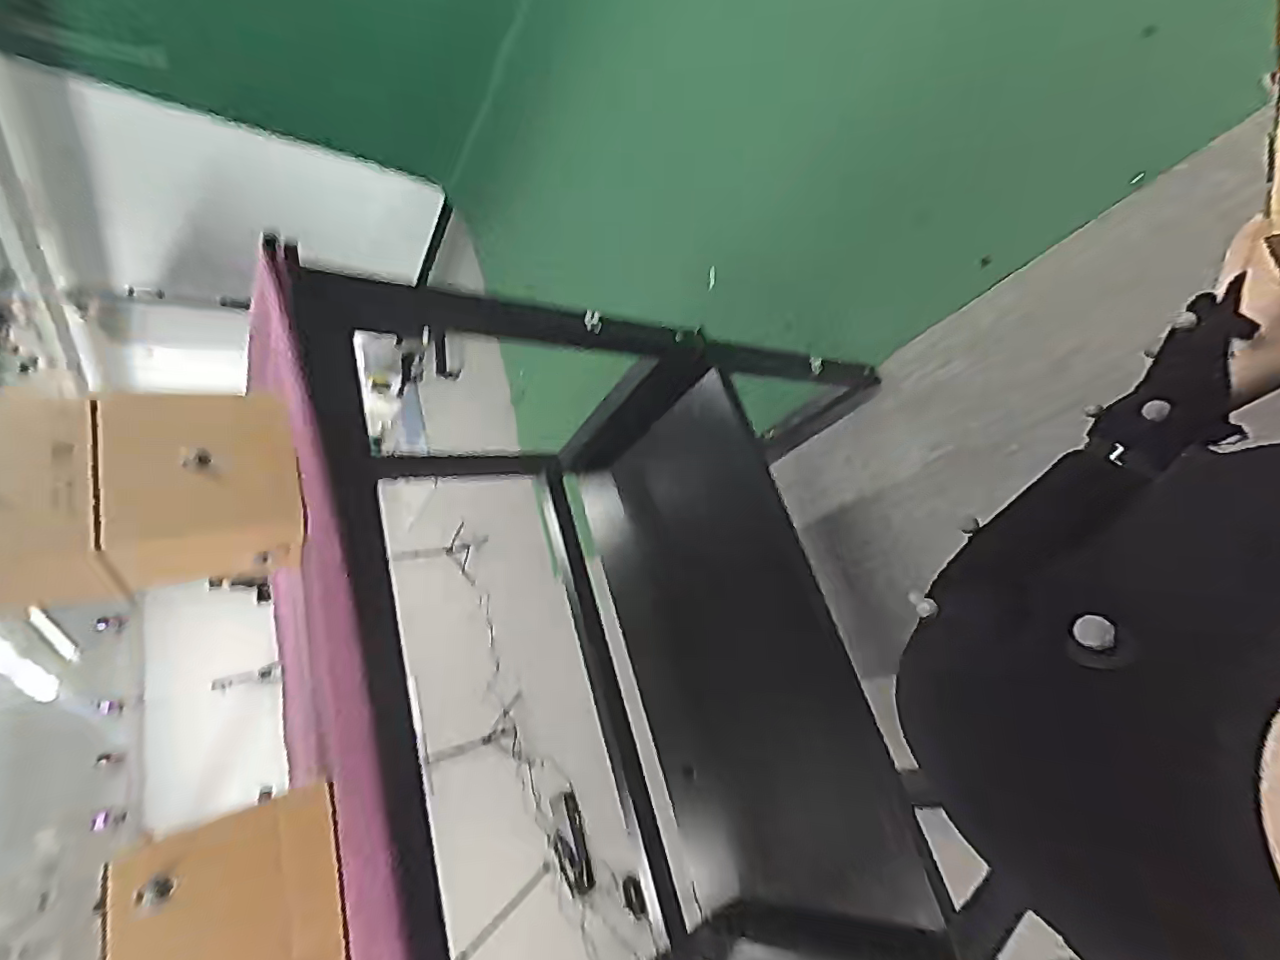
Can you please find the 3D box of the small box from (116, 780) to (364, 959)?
[{"bbox_3d":[-0.379,0.421,0.530,0.168,0.176,0.179,-38,63,48],"label":"small box"}]

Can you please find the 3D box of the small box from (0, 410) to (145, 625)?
[{"bbox_3d":[-0.620,0.039,0.533,0.179,0.176,0.168,-39,64,49],"label":"small box"}]
